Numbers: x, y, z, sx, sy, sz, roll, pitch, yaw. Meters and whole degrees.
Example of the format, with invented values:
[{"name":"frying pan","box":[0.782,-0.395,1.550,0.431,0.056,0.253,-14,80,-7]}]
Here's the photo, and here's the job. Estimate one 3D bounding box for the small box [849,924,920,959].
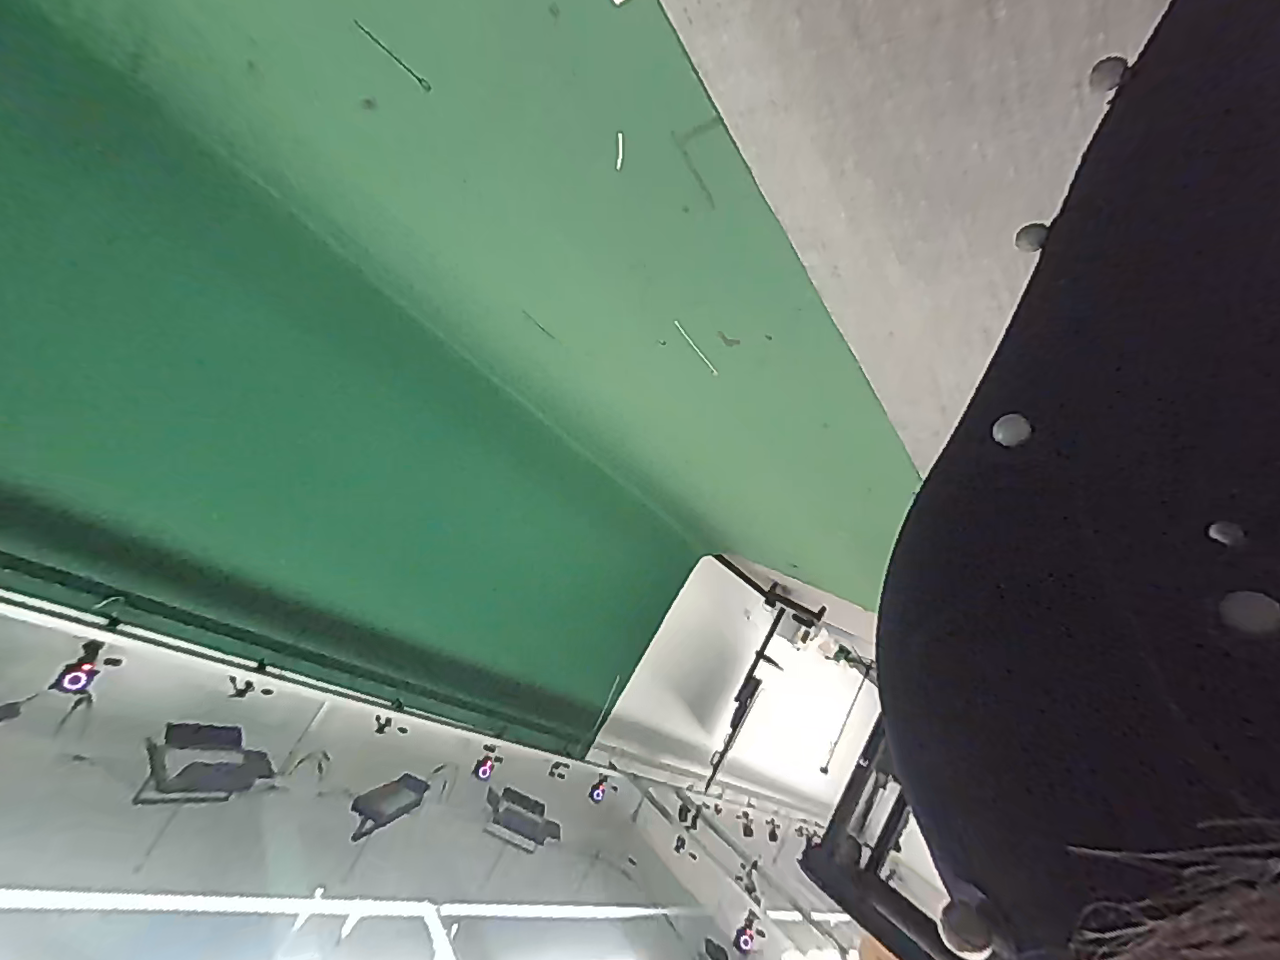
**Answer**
[{"name":"small box","box":[0.840,1.679,1.866,0.168,0.176,0.179,18,162,50]}]
